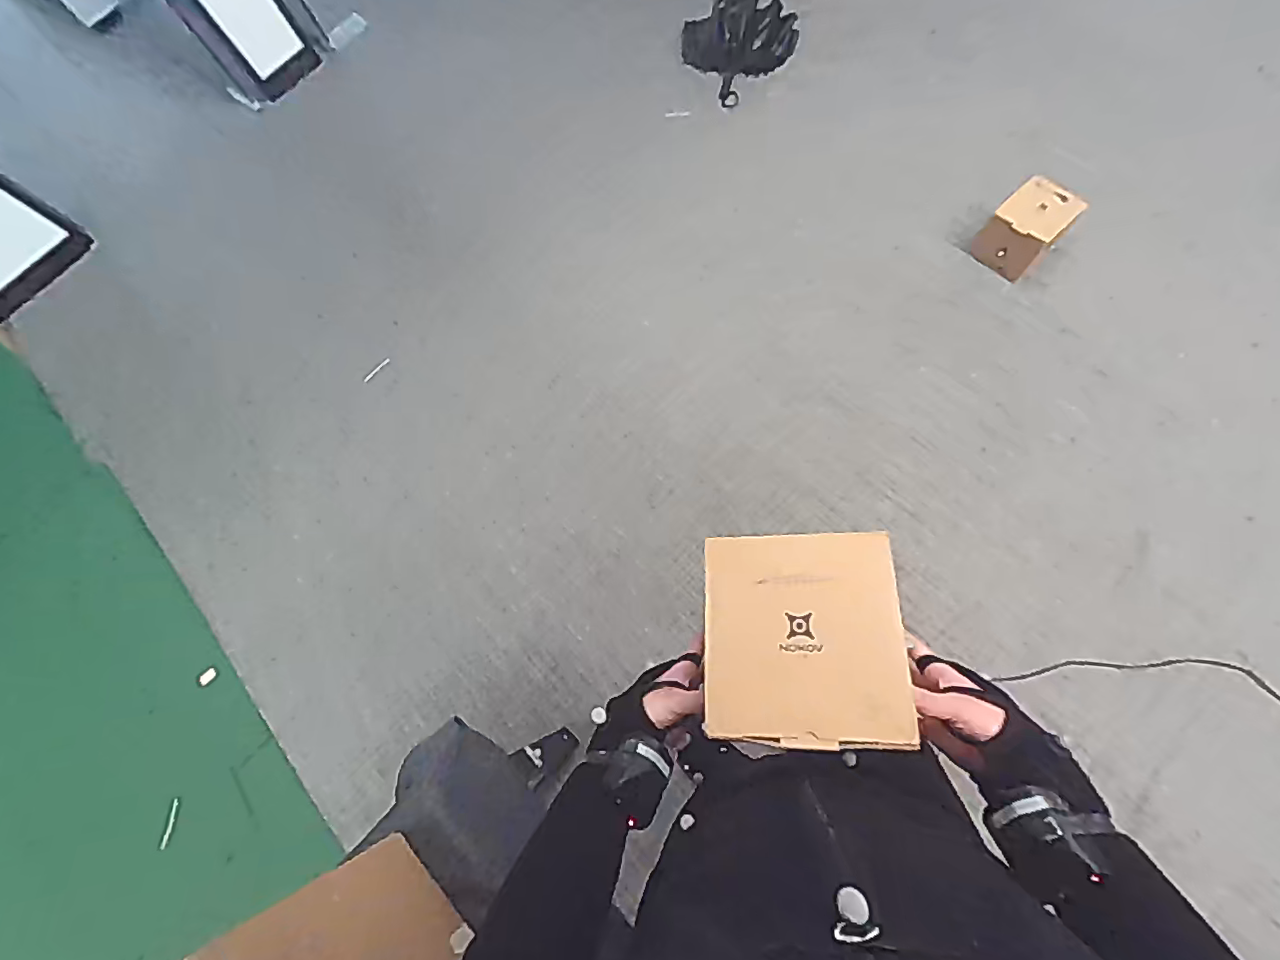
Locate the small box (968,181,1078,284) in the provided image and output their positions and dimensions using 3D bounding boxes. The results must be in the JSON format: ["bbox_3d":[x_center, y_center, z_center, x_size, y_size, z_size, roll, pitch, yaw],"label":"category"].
[{"bbox_3d":[1.091,-0.708,1.562,0.179,0.176,0.168,-42,72,-6],"label":"small box"}]
